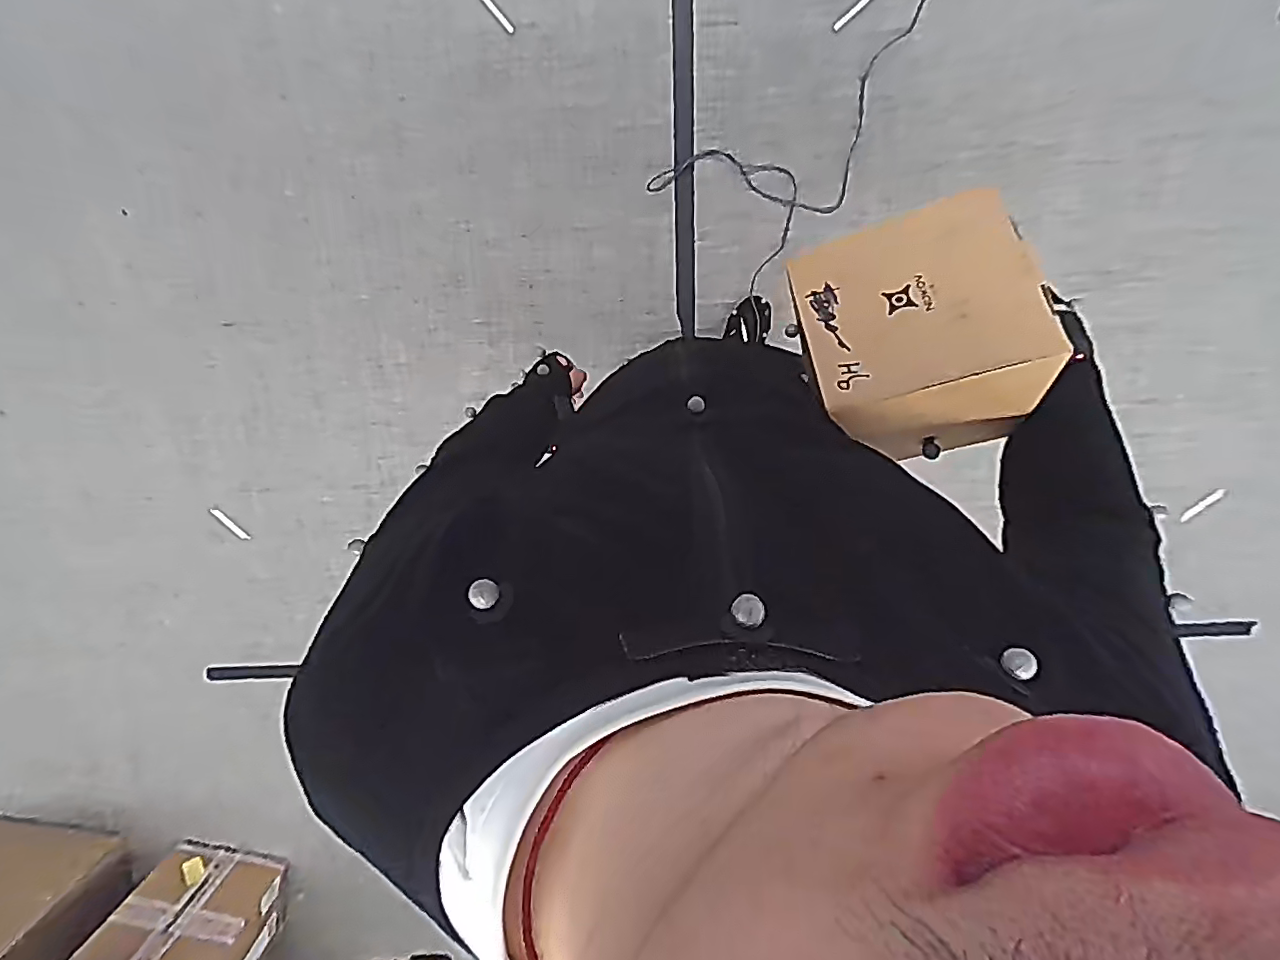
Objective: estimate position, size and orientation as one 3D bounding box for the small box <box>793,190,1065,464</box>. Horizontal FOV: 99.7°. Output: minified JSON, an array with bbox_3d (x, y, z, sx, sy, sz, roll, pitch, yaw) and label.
[{"bbox_3d":[0.259,-0.131,0.528,0.179,0.176,0.168,-14,68,18],"label":"small box"}]
